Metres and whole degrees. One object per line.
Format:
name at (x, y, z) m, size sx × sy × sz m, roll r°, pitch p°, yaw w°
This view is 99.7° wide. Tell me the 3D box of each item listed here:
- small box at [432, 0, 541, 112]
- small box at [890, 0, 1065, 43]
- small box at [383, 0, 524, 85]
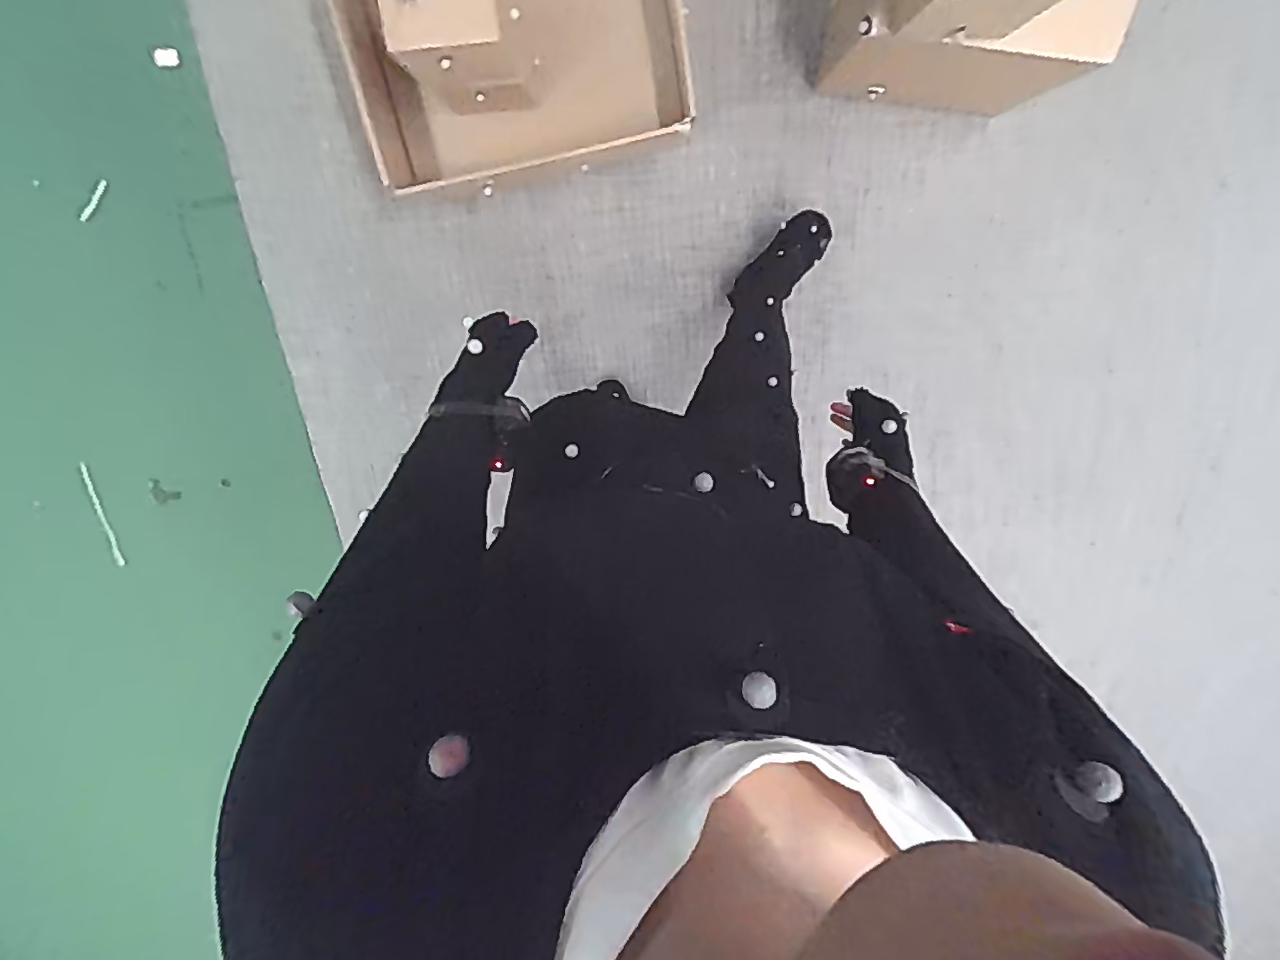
small box at (-0.297, -0.824, 1.032) m, size 0.179 × 0.176 × 0.168 m, roll -4°, pitch 111°, yaw 0°
small box at (0.484, -0.743, 0.757) m, size 0.179 × 0.176 × 0.168 m, roll 1°, pitch 112°, yaw 1°
small box at (-0.301, -0.768, 0.877) m, size 0.179 × 0.176 × 0.168 m, roll -5°, pitch 111°, yaw 1°
